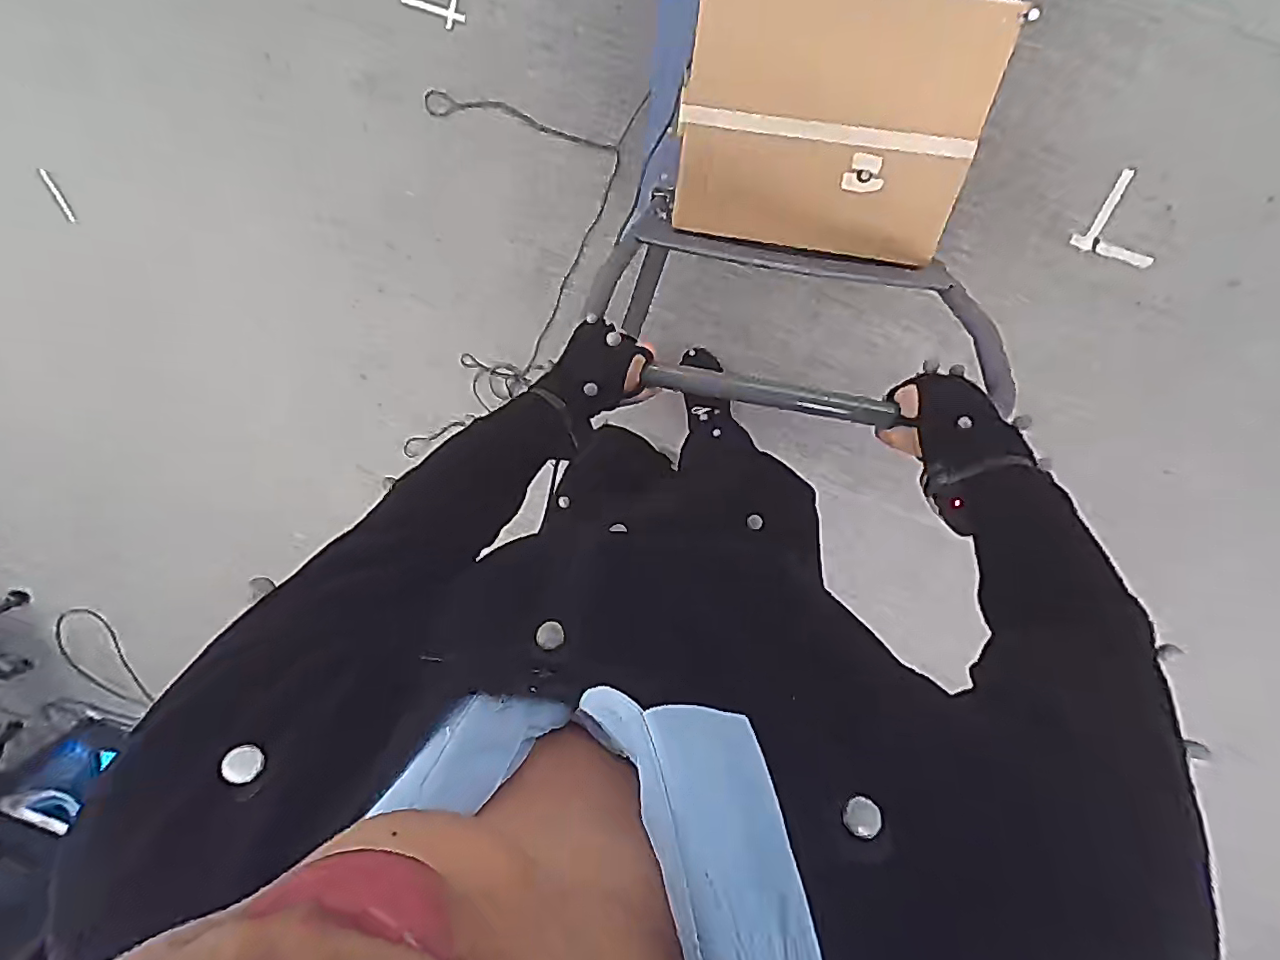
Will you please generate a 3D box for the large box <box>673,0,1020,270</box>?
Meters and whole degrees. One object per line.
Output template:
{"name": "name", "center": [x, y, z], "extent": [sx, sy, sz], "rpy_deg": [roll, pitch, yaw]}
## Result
{"name": "large box", "center": [0.282, -0.562, 0.887], "extent": [0.408, 0.320, 0.320], "rpy_deg": [10, 125, 4]}
